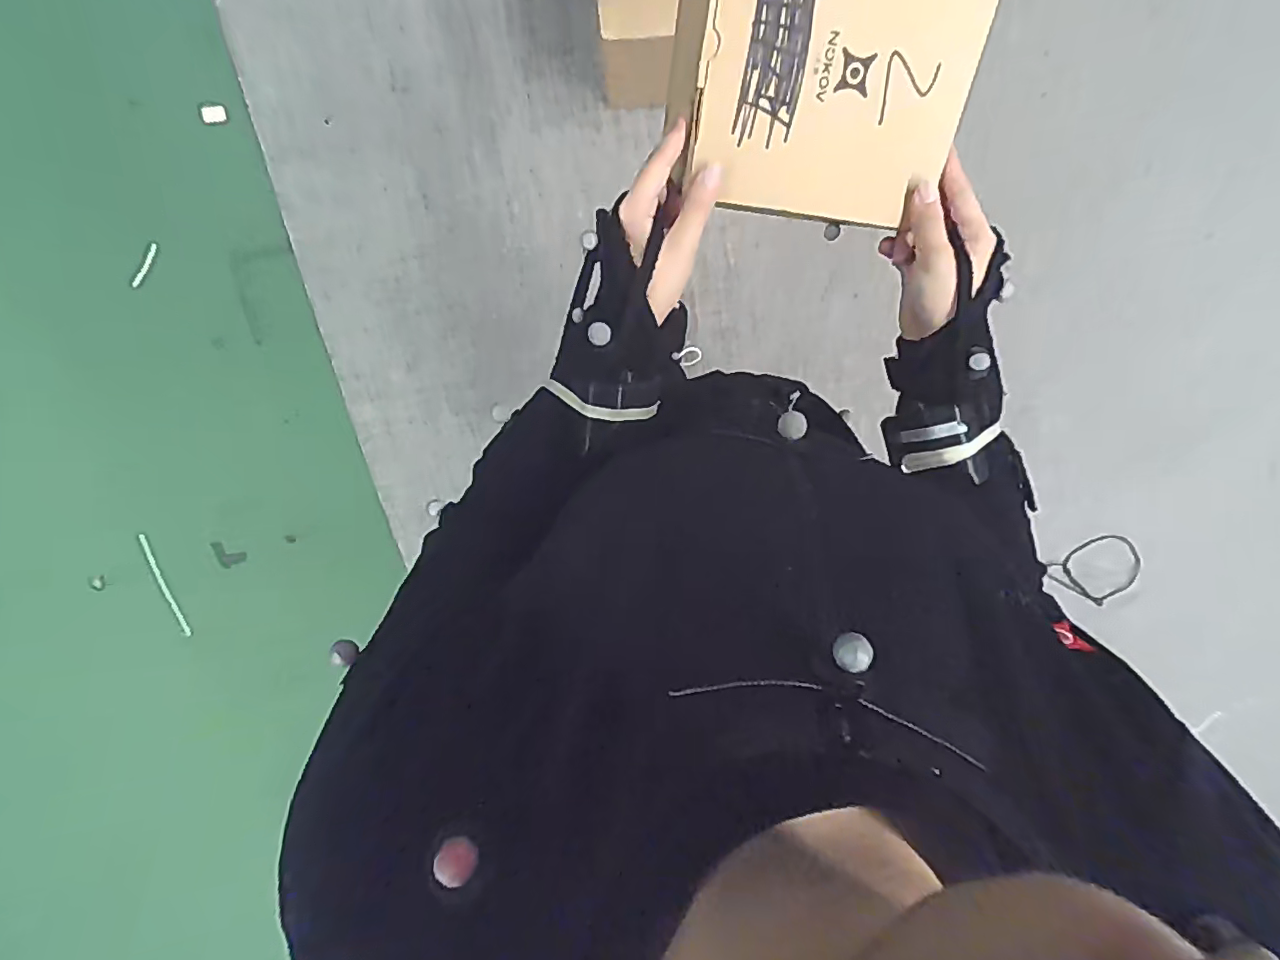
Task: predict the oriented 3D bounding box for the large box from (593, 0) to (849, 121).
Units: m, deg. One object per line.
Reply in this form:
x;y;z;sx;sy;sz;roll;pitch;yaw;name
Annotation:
0.118;-0.879;0.964;0.408;0.320;0.320;-4;107;-1;large box
